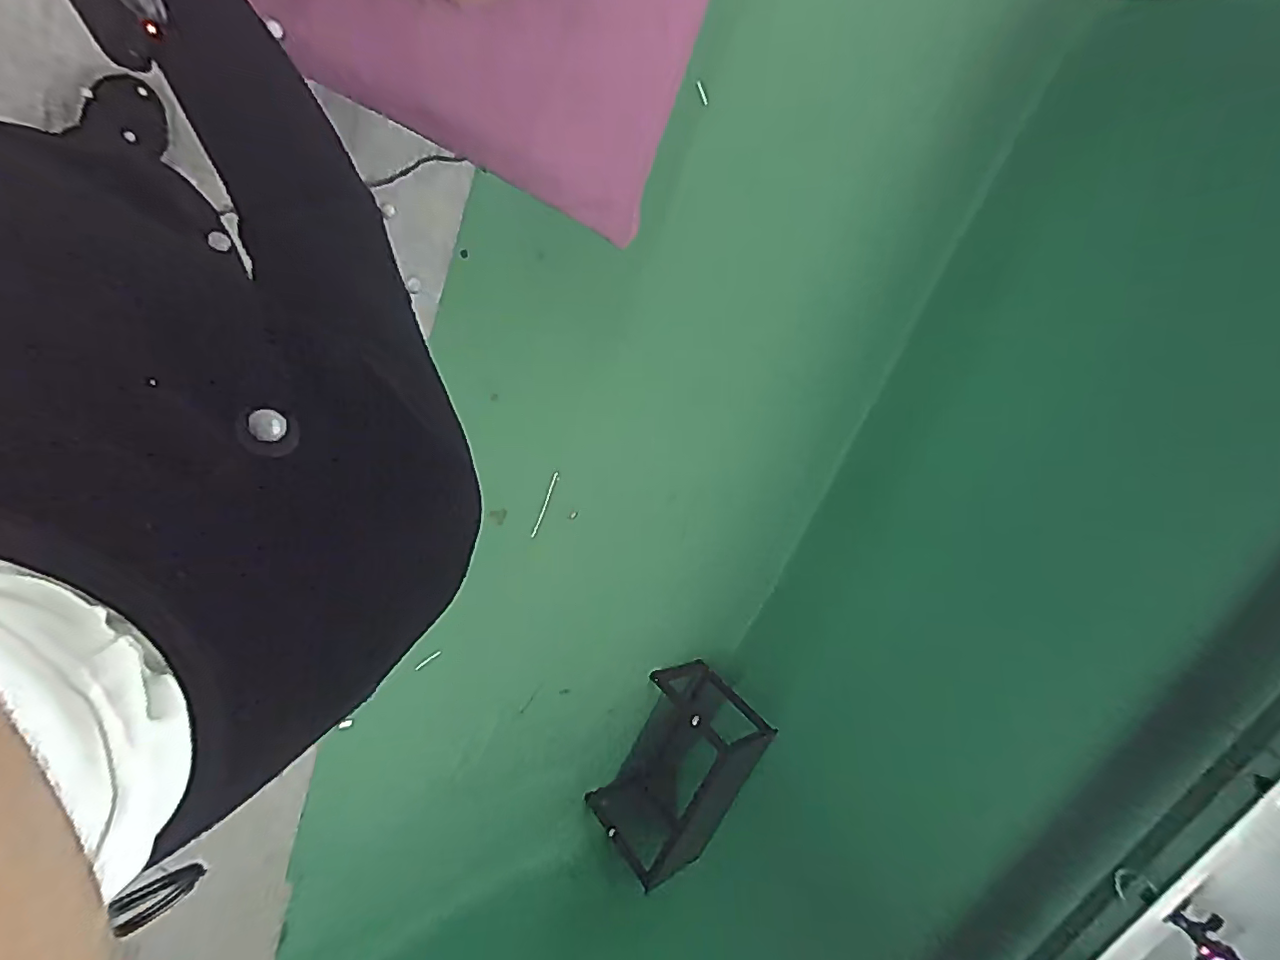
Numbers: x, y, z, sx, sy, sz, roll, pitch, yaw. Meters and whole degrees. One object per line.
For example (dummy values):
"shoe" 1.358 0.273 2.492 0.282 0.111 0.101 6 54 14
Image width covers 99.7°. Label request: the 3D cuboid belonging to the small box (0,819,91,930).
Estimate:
"small box" -1.748 1.147 1.586 0.179 0.176 0.168 7 114 -48
